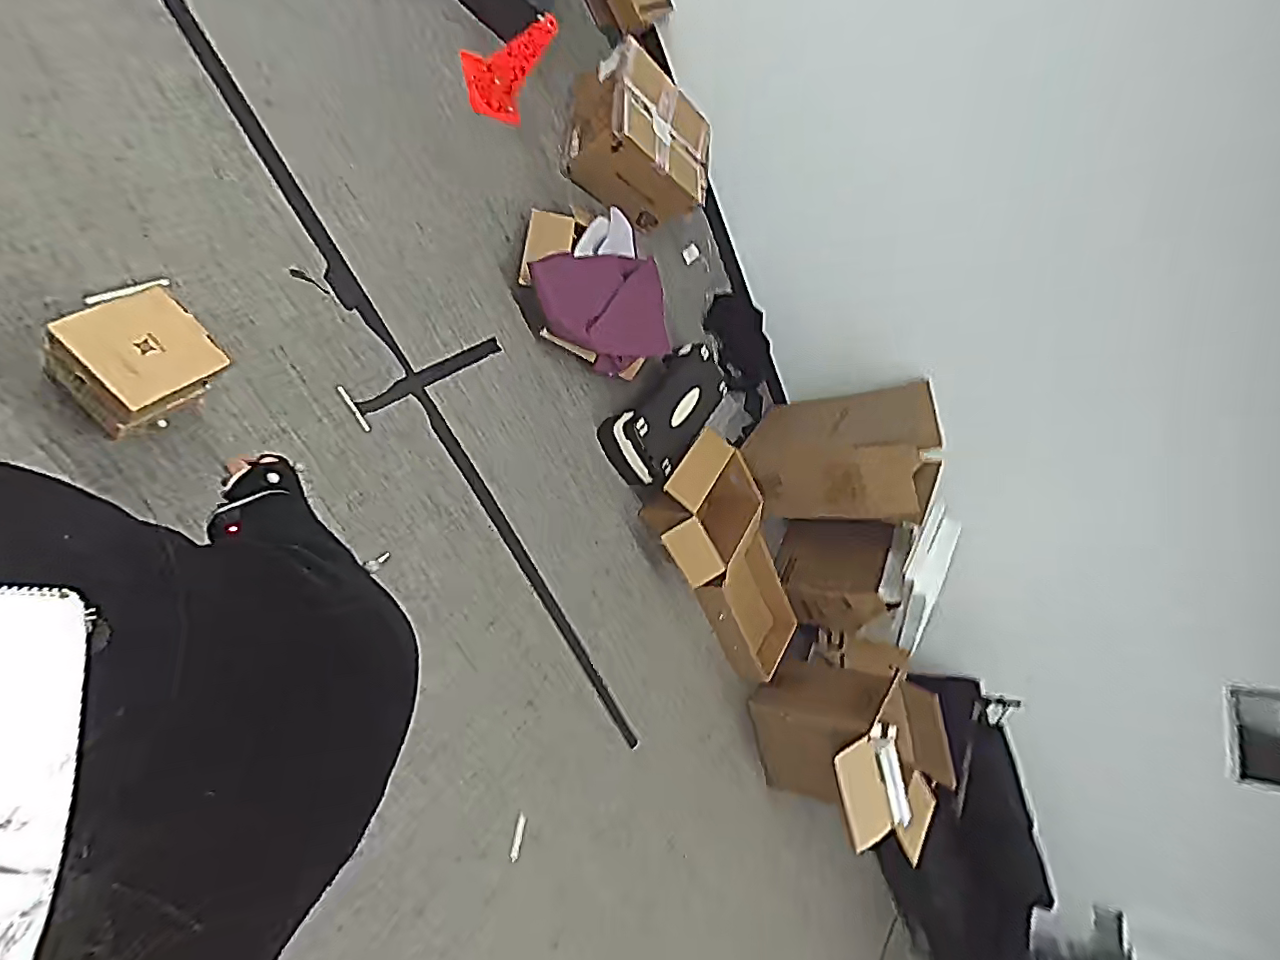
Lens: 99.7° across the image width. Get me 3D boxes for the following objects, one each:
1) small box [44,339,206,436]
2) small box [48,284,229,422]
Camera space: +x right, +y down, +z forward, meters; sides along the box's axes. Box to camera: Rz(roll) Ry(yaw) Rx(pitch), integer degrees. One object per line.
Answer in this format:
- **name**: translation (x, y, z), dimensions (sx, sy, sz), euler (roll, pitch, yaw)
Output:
- **small box**: translation (-1.030, -0.207, 1.084), dimensions (0.168, 0.176, 0.179), euler (-47, 119, -39)
- **small box**: translation (-0.905, -0.225, 0.981), dimensions (0.179, 0.176, 0.168), euler (-50, 119, -36)
